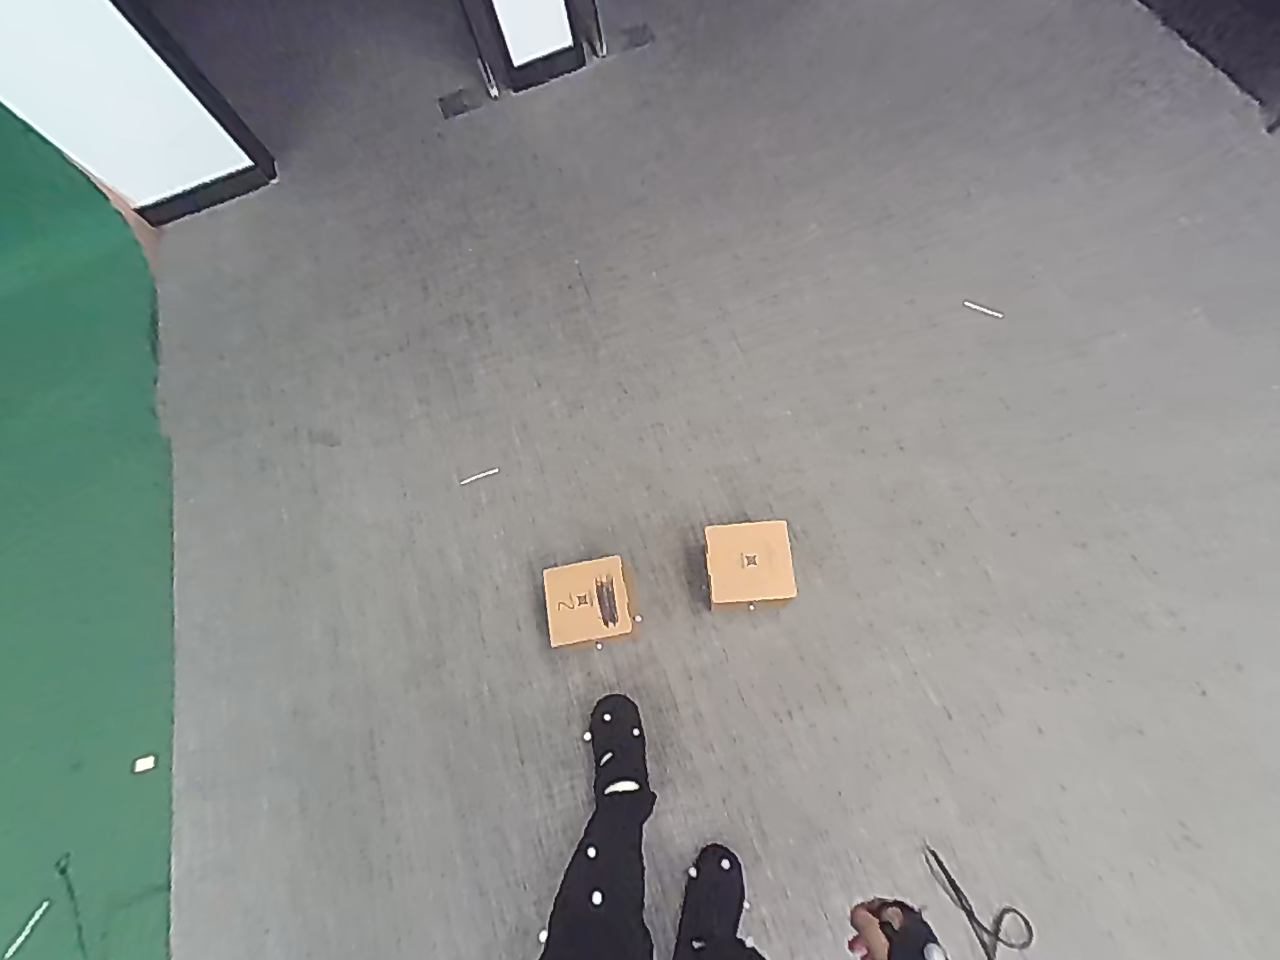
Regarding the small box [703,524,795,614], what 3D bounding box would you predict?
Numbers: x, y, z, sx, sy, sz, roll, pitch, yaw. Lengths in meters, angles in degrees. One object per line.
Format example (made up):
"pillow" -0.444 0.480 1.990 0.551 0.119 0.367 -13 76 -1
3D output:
"small box" 0.235 0.203 1.199 0.179 0.176 0.168 -4 69 5
